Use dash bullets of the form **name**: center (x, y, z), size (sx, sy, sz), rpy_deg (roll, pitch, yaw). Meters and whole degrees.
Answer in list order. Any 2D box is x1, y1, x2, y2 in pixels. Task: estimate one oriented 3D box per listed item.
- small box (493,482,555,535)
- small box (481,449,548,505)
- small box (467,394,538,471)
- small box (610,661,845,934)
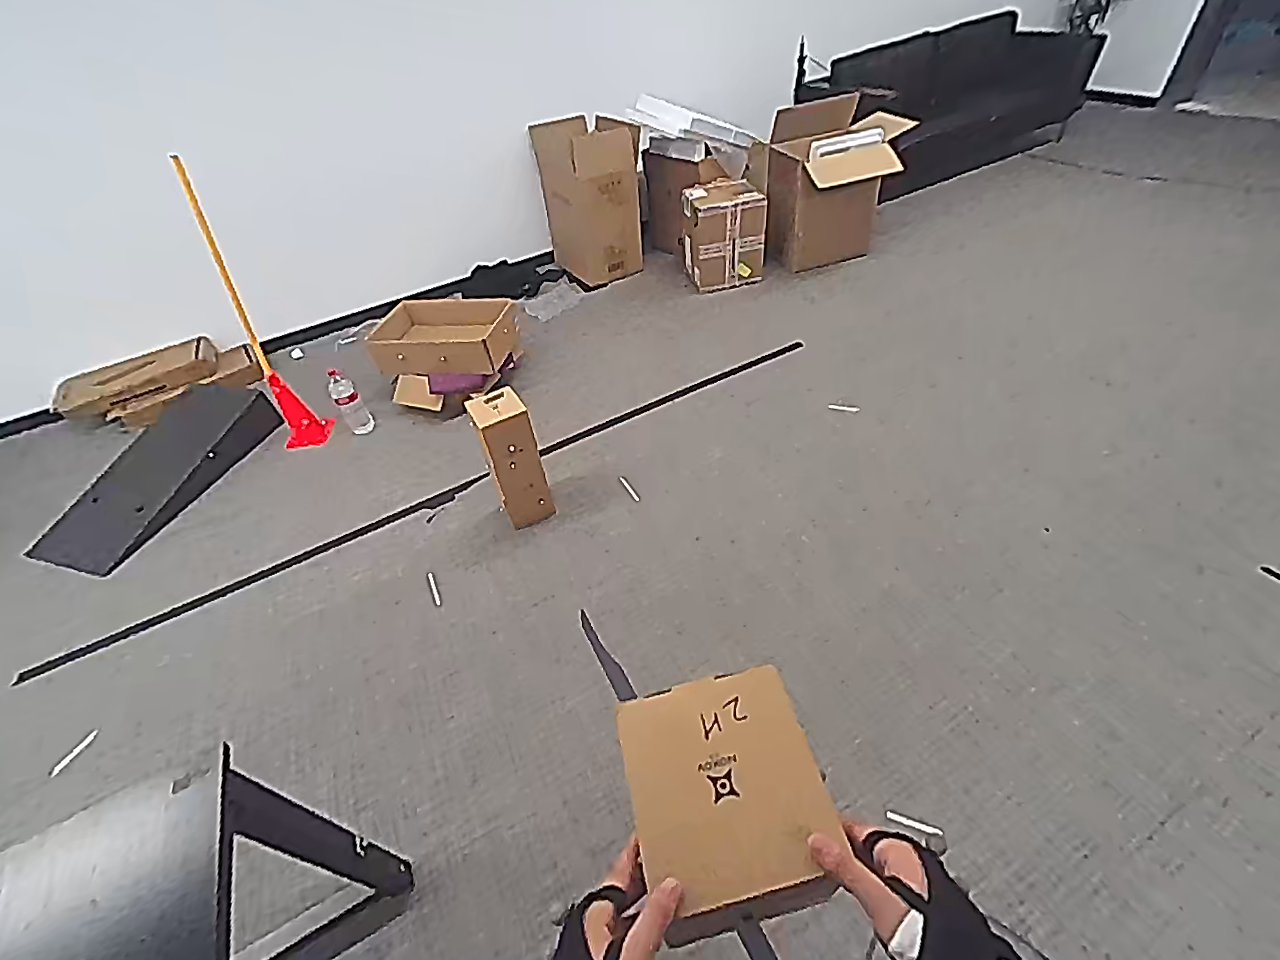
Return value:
- **small box**: center (-0.439, 0.079, 2.074), size (0.179, 0.176, 0.168), rpy_deg (-26, 45, -16)
- **small box**: center (-0.455, -0.040, 1.962), size (0.168, 0.176, 0.179), rpy_deg (-26, 45, -18)
- **small box**: center (-0.469, -0.161, 1.851), size (0.168, 0.176, 0.179), rpy_deg (-26, 46, -18)
- **small box**: center (0.077, 0.313, 0.530), size (0.168, 0.176, 0.179), rpy_deg (-14, 43, -4)
